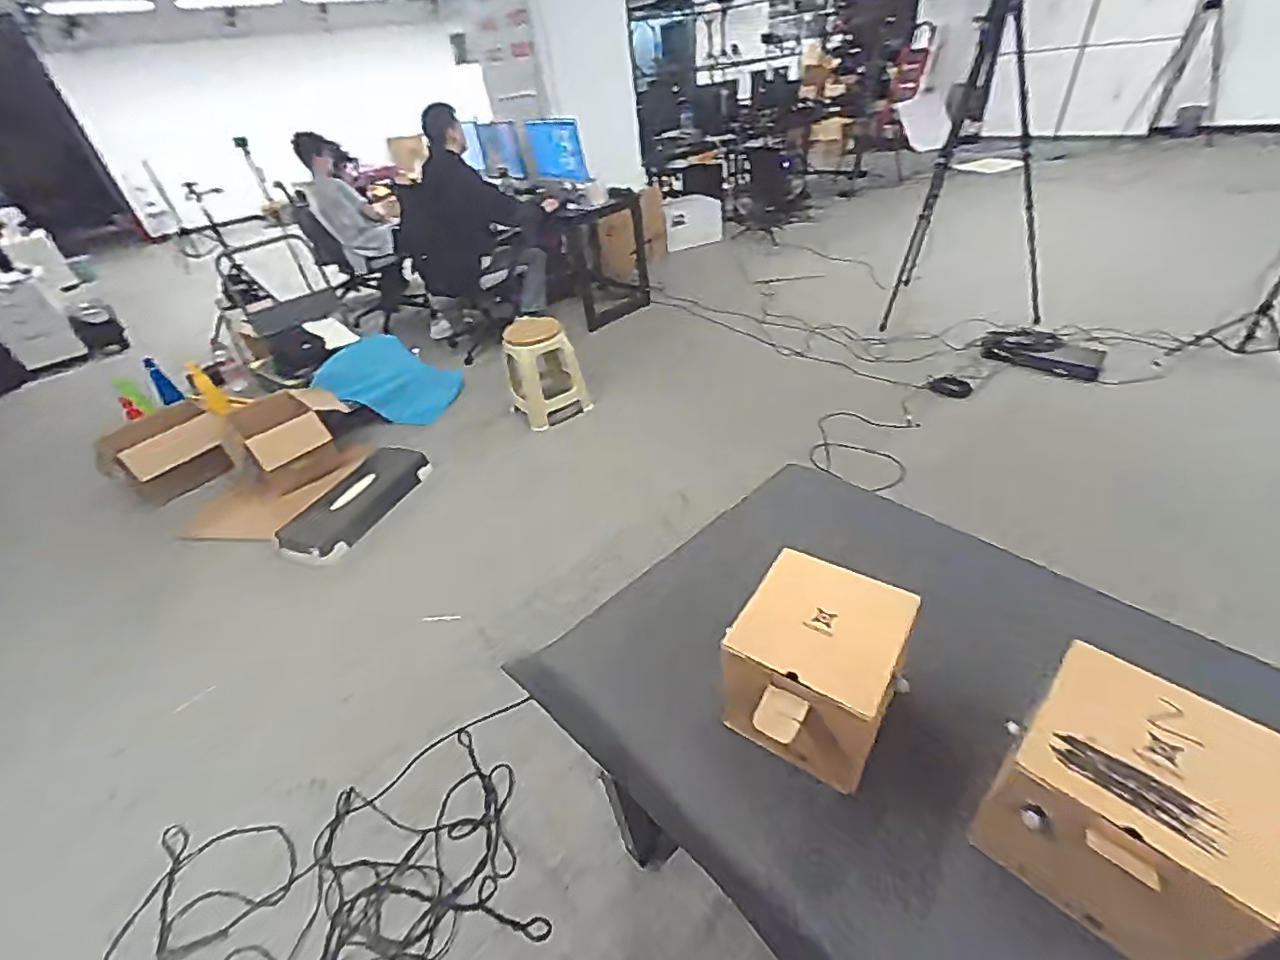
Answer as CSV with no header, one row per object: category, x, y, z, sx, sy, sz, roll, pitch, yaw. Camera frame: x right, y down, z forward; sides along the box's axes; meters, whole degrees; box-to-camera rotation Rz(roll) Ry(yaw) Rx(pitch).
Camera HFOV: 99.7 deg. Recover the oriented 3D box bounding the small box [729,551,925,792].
small box,0.217,0.224,0.651,0.168,0.176,0.179,19,45,31
